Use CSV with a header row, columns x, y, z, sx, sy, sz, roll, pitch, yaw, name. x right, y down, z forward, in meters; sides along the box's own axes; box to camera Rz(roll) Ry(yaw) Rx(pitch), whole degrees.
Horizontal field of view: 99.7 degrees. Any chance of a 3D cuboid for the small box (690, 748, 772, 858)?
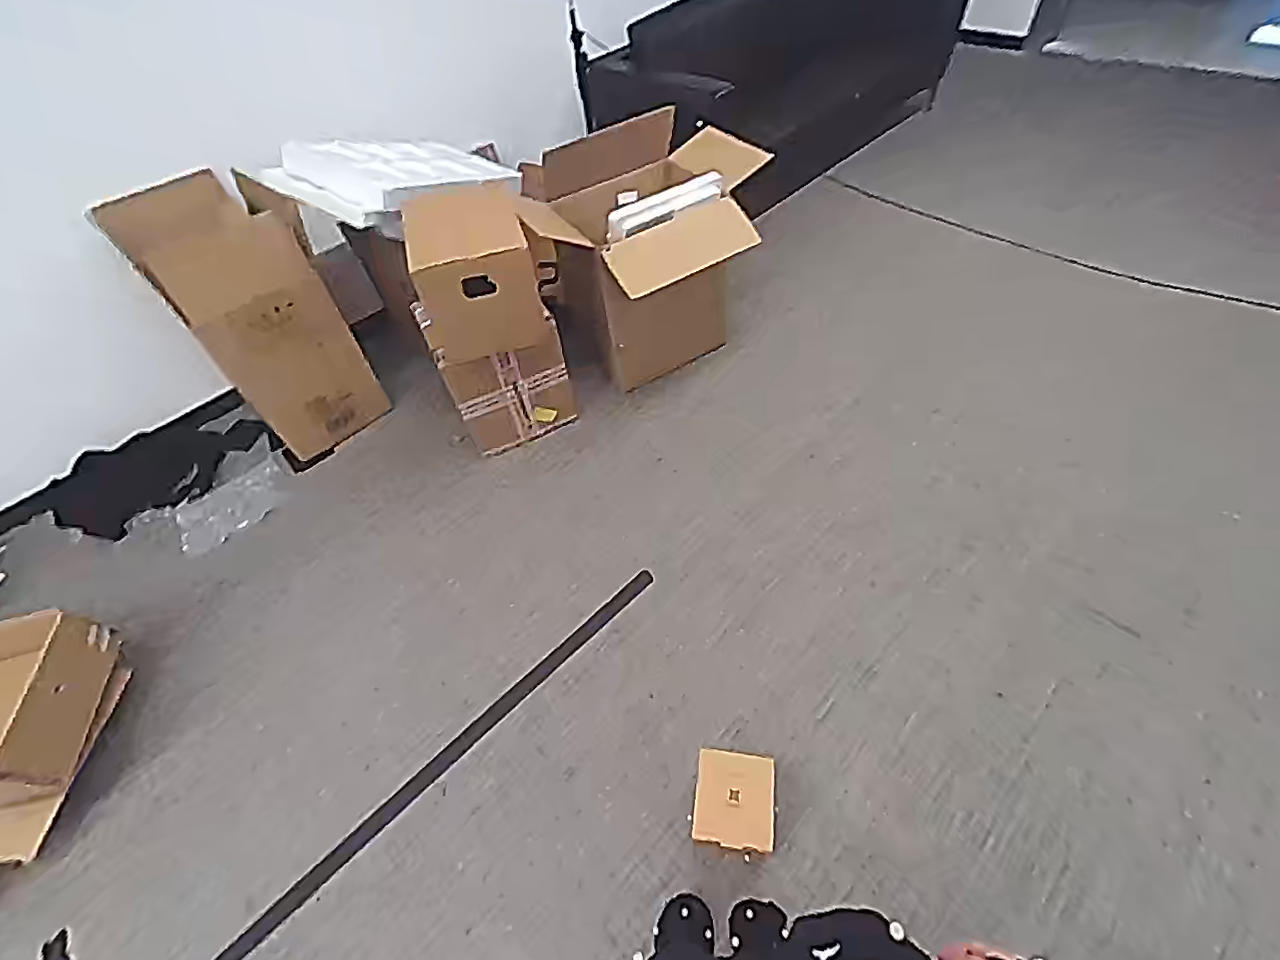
x,y,z,sx,sy,sz,roll,pitch,yaw,name
0.203,0.721,1.203,0.168,0.176,0.179,4,52,9,small box
